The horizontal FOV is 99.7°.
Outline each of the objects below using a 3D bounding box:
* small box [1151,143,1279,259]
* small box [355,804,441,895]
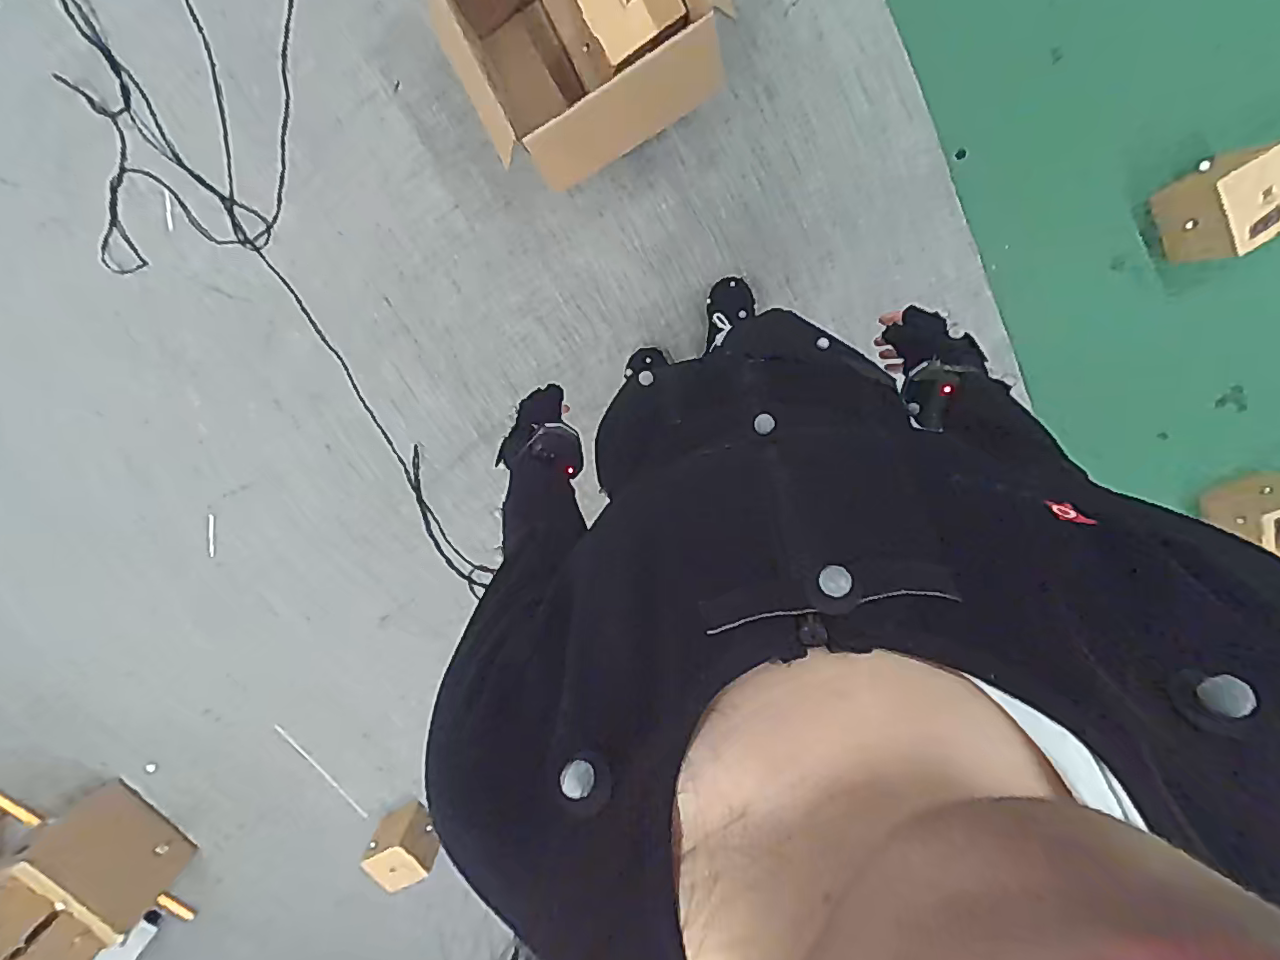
[{"bbox_3d":[1.305,-0.609,1.198,0.168,0.176,0.179,-31,104,11],"label":"small box"},{"bbox_3d":[-0.824,1.266,1.861,0.179,0.176,0.168,-30,106,10],"label":"small box"}]
